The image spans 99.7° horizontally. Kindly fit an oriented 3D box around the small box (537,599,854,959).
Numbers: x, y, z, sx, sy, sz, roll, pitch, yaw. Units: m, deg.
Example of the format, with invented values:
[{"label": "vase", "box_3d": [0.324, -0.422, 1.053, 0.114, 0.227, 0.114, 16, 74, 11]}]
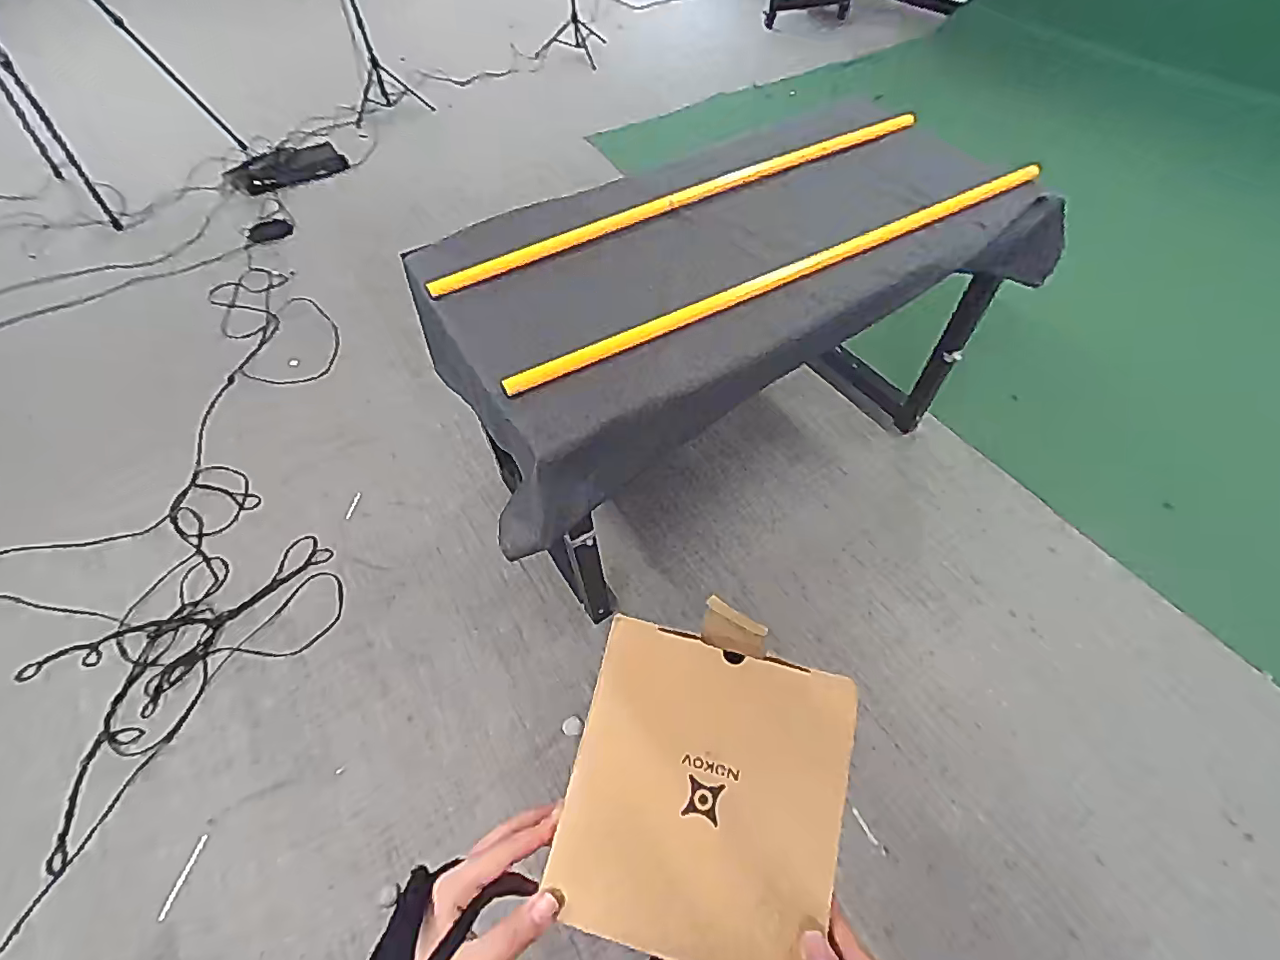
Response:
[{"label": "small box", "box_3d": [0.042, 0.207, 0.408, 0.168, 0.176, 0.179, 14, 70, 6]}]
